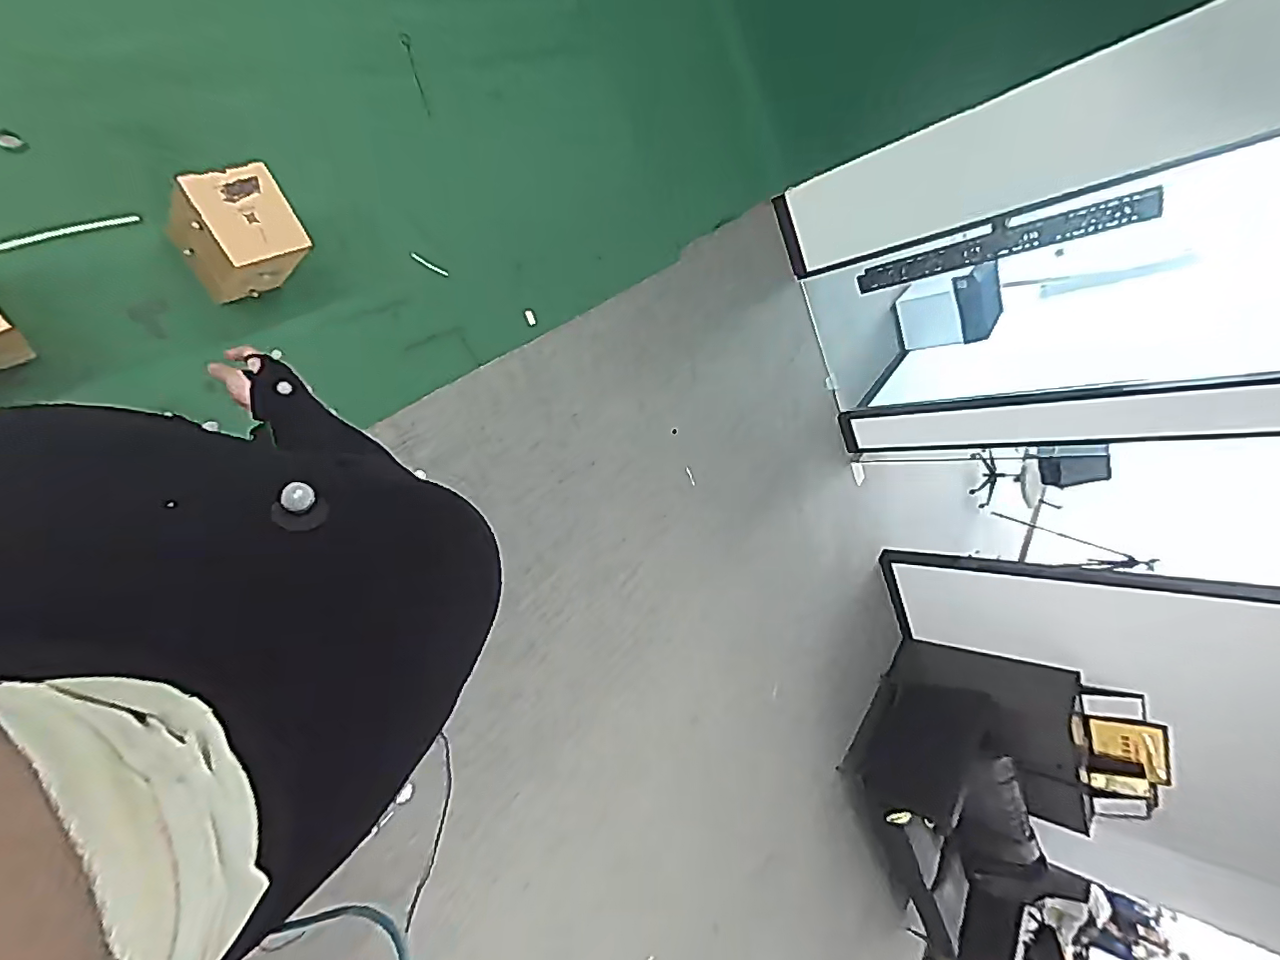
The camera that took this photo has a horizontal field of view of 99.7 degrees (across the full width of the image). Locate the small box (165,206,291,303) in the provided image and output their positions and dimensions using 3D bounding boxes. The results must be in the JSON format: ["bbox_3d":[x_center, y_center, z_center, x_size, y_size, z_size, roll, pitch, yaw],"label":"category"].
[{"bbox_3d":[-0.973,-0.543,1.274,0.168,0.176,0.179,-41,117,-37],"label":"small box"}]

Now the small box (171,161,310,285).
[{"bbox_3d":[-0.857,-0.544,1.158,0.168,0.176,0.179,-42,118,-36],"label":"small box"}]

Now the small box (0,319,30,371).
[{"bbox_3d":[-1.279,-0.273,0.982,0.168,0.176,0.179,-42,117,-35],"label":"small box"}]
